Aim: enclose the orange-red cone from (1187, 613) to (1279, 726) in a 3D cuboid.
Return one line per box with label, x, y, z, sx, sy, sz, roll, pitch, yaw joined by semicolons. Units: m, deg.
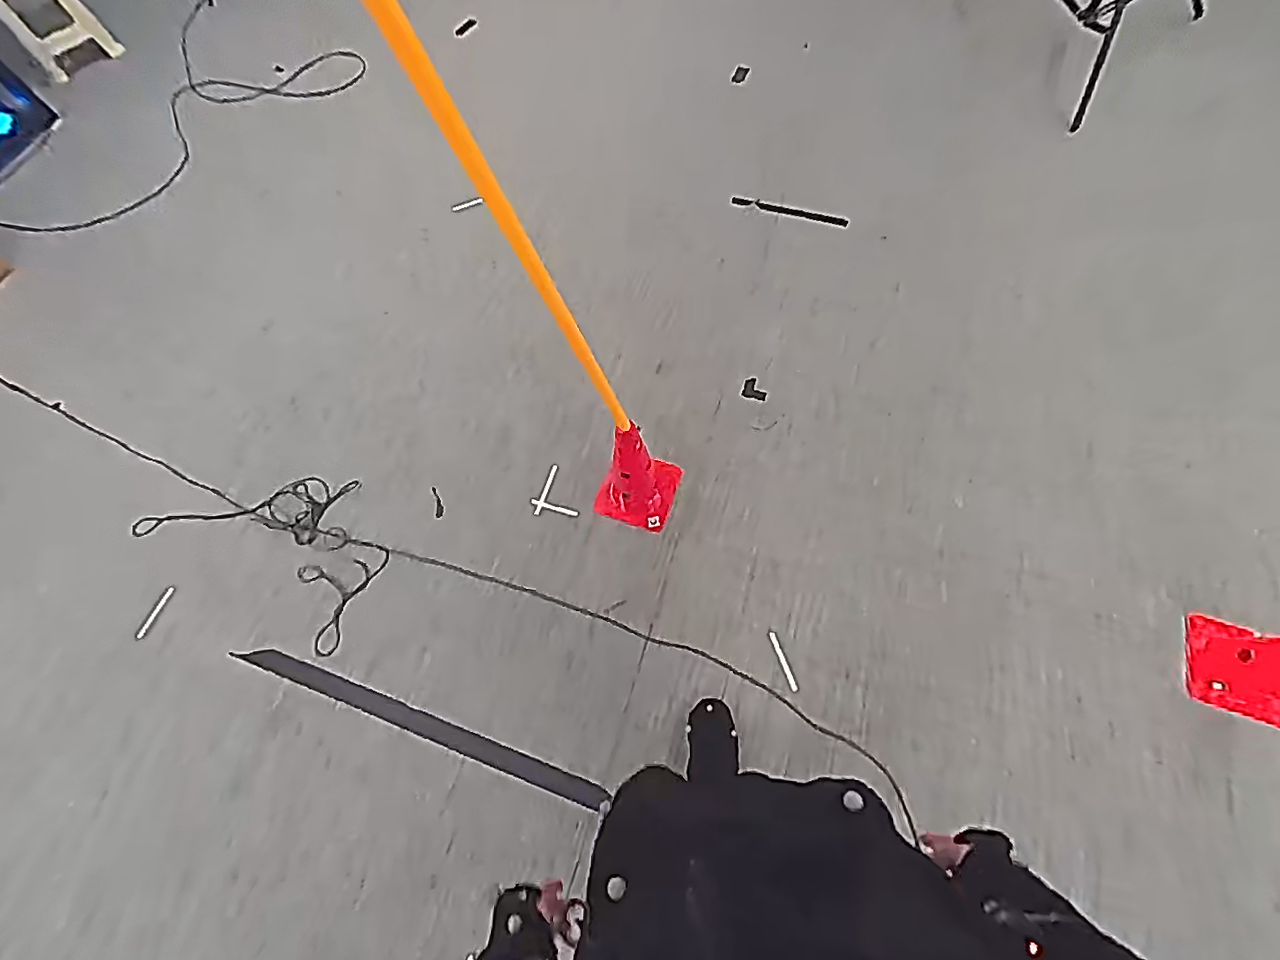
orange-red cone;1.304;0.343;1.023;0.199;0.360;0.198;20;70;12
